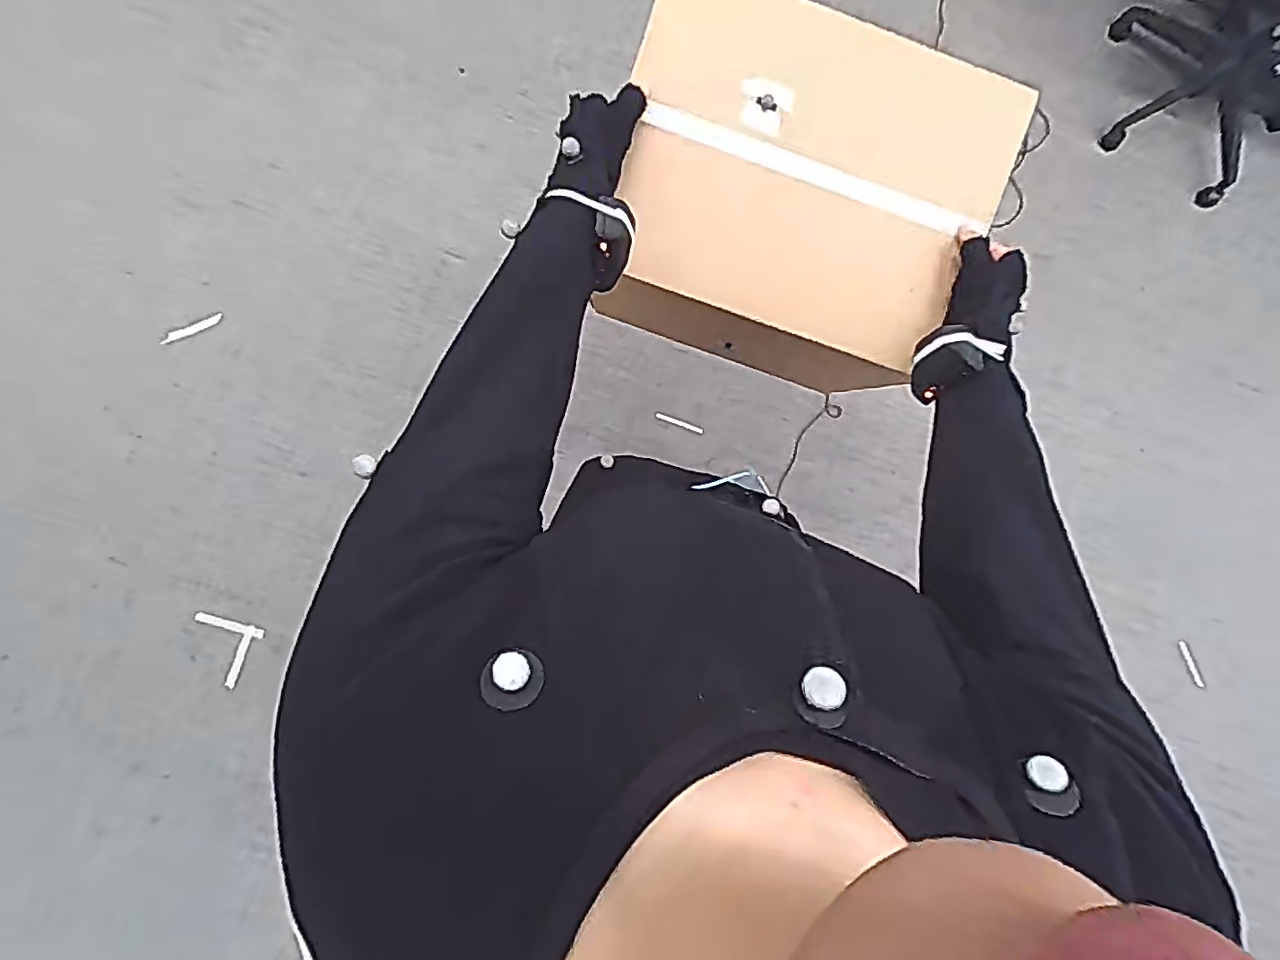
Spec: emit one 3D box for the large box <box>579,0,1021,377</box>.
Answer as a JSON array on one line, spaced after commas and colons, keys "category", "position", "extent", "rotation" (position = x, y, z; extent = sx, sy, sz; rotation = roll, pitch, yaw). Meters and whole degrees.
[{"category": "large box", "position": [0.166, -0.346, 0.719], "extent": [0.408, 0.320, 0.320], "rotation": [18, 95, -4]}]
